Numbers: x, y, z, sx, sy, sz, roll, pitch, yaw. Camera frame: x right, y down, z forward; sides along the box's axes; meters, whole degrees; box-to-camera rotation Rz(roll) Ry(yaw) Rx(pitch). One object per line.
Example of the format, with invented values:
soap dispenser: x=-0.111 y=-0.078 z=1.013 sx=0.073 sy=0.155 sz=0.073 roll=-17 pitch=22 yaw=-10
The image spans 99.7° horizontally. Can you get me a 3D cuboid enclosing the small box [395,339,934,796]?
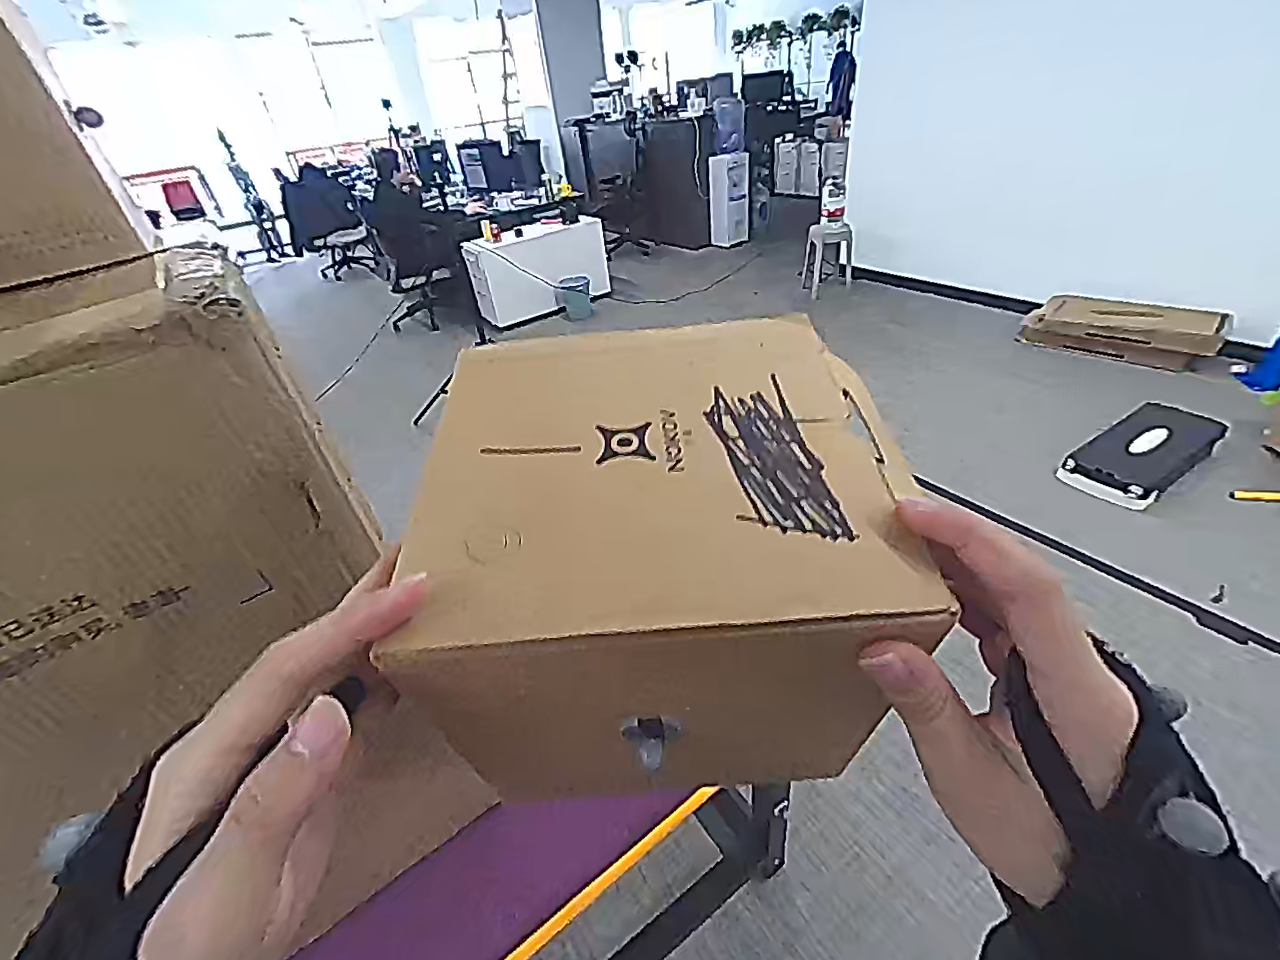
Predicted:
small box: x=0.009 y=0.049 z=0.282 sx=0.179 sy=0.176 sz=0.168 roll=-5 pitch=46 yaw=1
